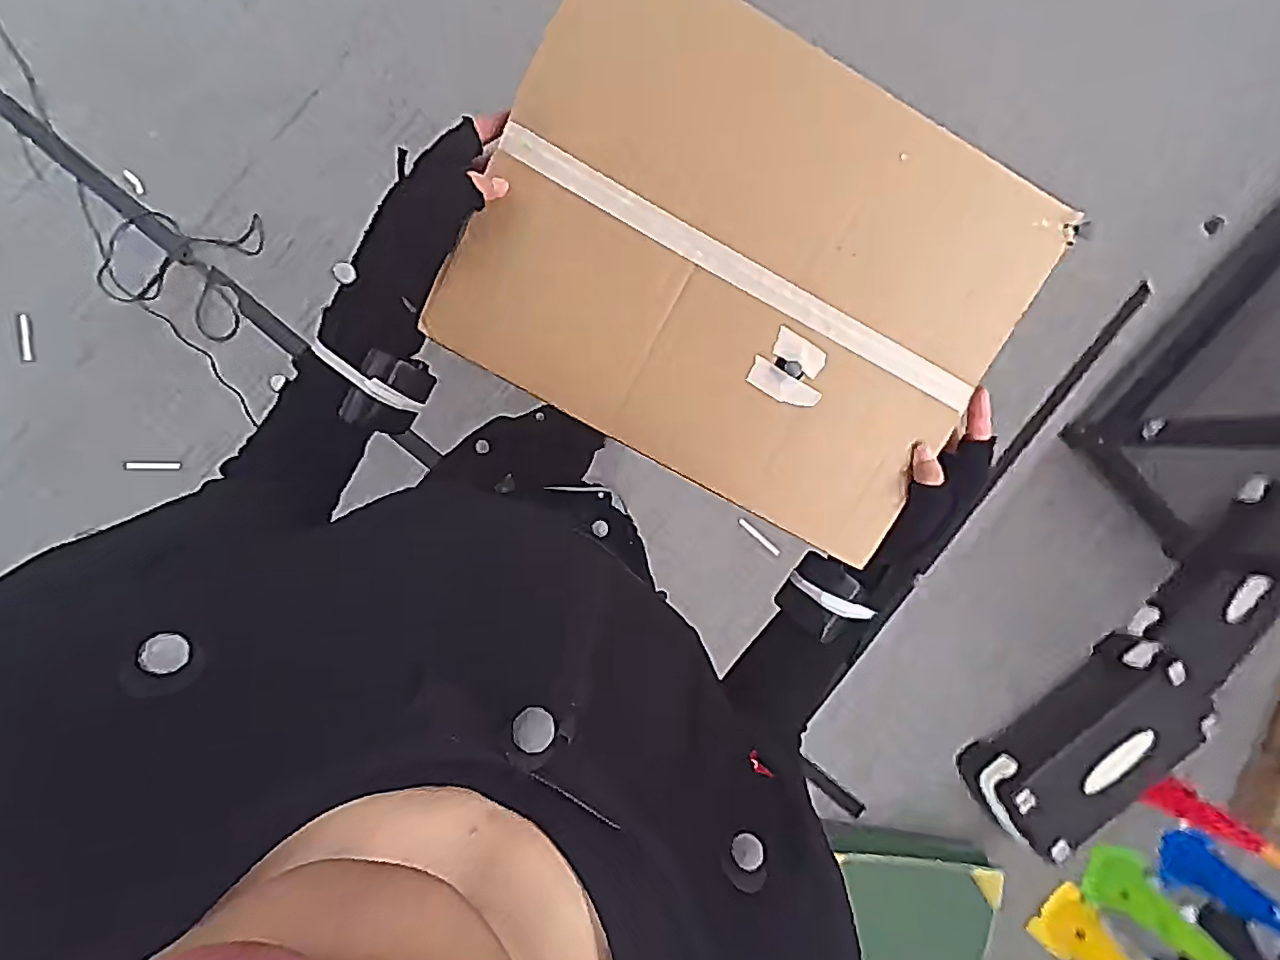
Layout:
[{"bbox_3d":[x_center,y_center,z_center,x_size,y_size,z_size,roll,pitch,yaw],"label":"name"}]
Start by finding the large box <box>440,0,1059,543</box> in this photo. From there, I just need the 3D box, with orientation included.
[{"bbox_3d":[0.080,-0.190,0.570,0.408,0.320,0.320,28,99,-5],"label":"large box"}]
